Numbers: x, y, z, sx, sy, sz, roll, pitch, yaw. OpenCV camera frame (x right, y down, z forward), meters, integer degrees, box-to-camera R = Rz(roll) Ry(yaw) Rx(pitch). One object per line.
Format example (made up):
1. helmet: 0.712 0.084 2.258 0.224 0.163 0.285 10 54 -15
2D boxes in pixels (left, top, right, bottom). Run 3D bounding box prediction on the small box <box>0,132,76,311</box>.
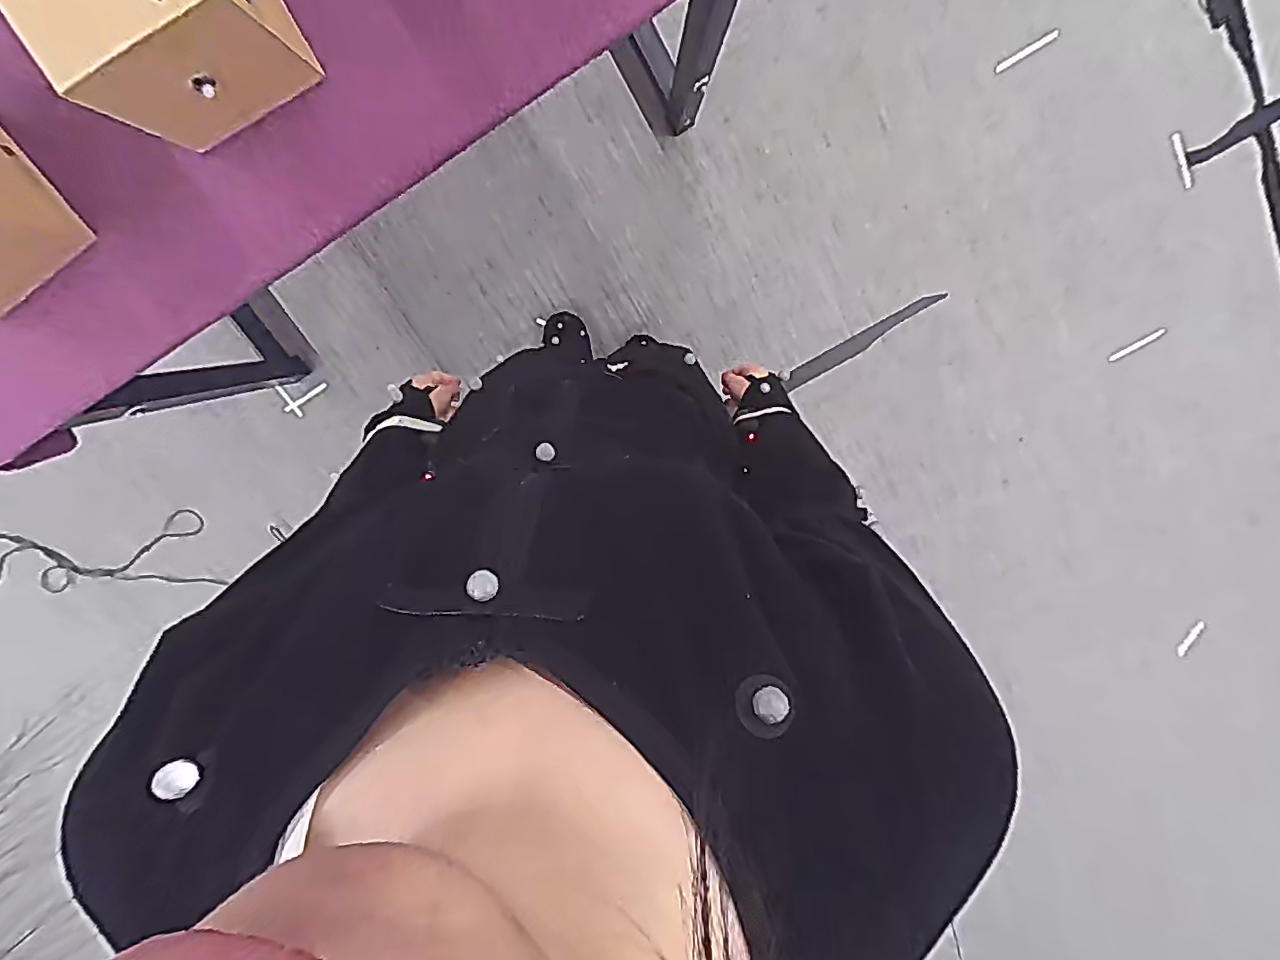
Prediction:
1. small box: -0.758 -0.287 0.553 0.179 0.176 0.168 -32 103 7
